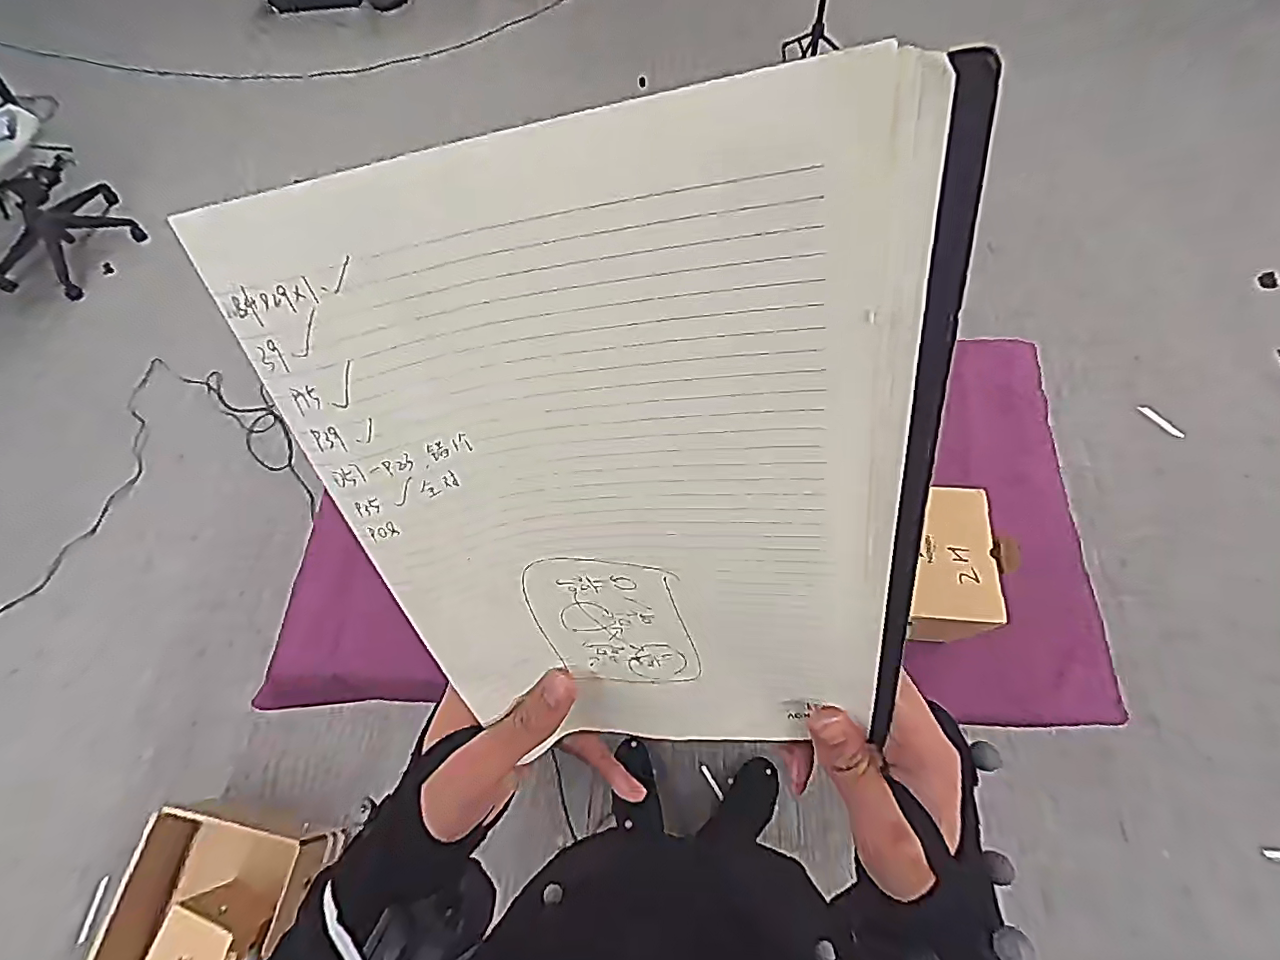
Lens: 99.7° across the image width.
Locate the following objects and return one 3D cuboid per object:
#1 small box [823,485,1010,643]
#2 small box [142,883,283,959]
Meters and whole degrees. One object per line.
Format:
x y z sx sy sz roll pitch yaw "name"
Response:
0.343 0.117 0.715 0.179 0.176 0.168 3 67 8 "small box"
-0.957 1.044 1.210 0.179 0.176 0.168 15 70 12 "small box"
